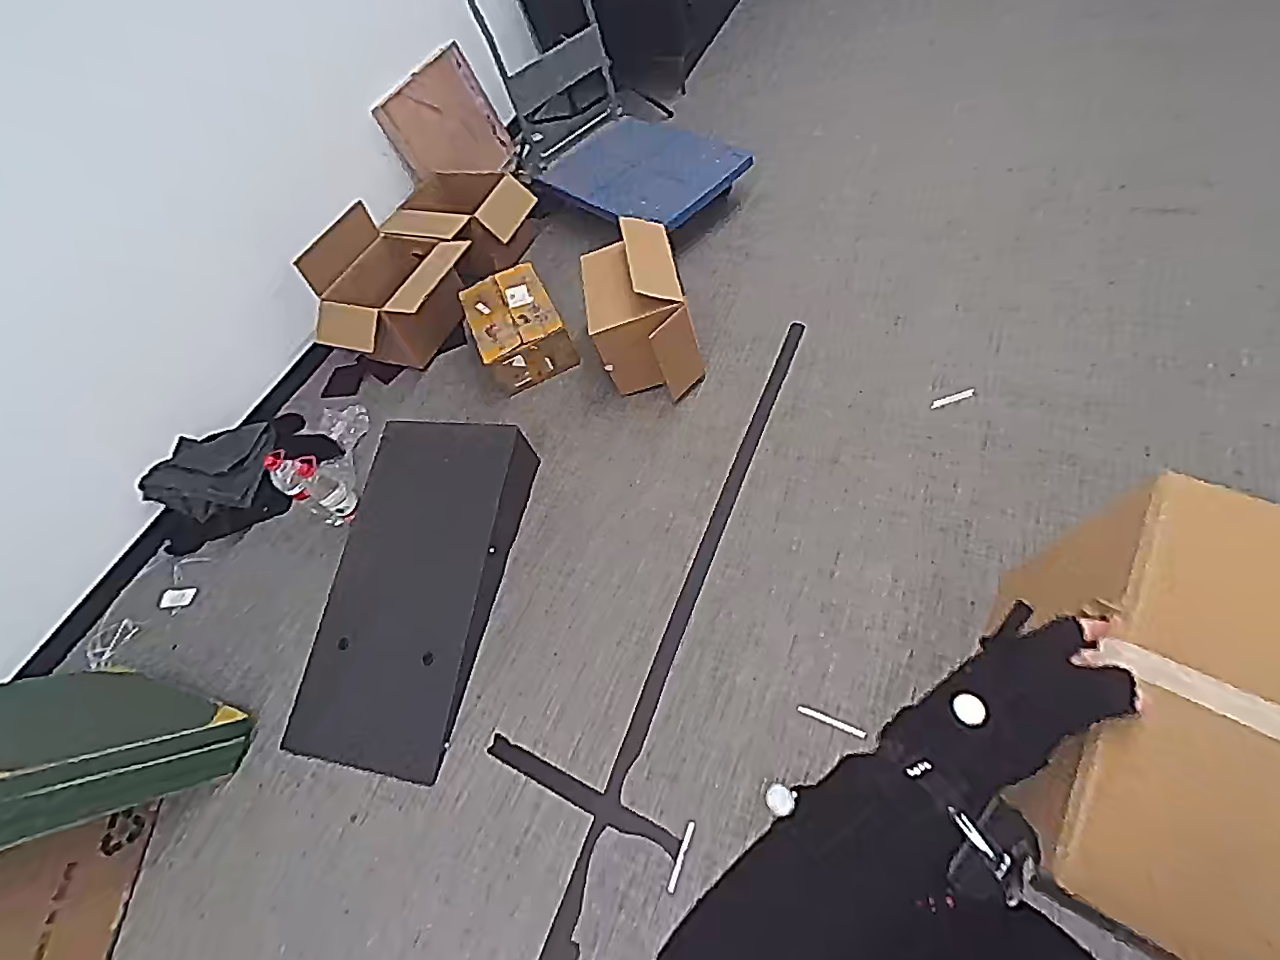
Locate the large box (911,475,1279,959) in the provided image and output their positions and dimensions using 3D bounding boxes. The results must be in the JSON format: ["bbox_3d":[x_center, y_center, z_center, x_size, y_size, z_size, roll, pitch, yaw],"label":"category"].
[{"bbox_3d":[0.517,0.253,0.459,0.408,0.320,0.320,24,73,20],"label":"large box"}]
